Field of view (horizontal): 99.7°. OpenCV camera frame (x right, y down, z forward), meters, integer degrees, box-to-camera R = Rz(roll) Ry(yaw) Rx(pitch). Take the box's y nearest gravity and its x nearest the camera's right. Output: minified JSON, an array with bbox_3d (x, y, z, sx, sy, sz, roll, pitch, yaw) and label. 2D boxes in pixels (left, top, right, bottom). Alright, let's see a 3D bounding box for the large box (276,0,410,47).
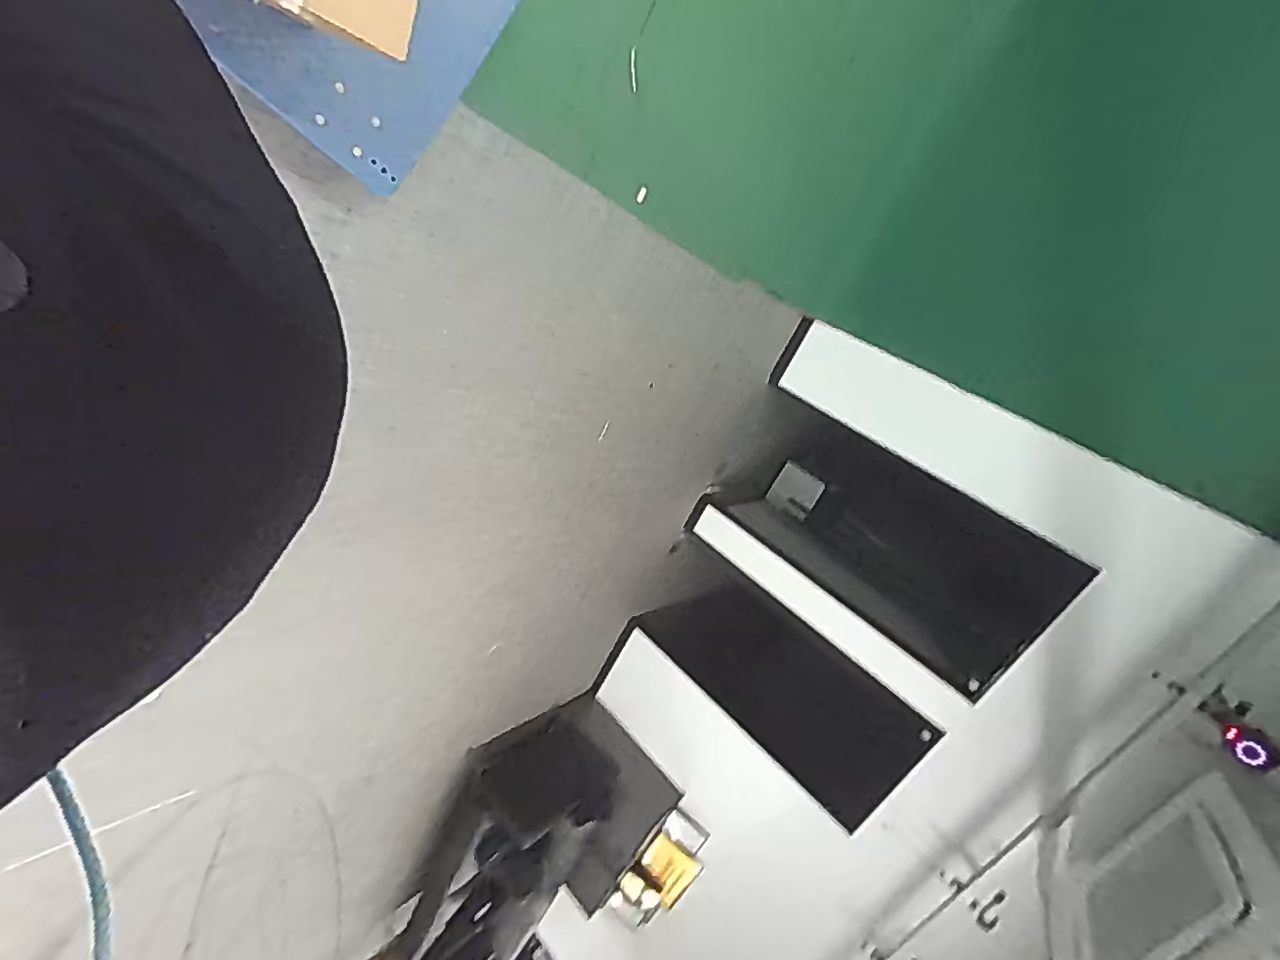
[{"bbox_3d":[-0.479,-0.872,0.683,0.320,0.320,0.408,-8,129,-52],"label":"large box"}]
